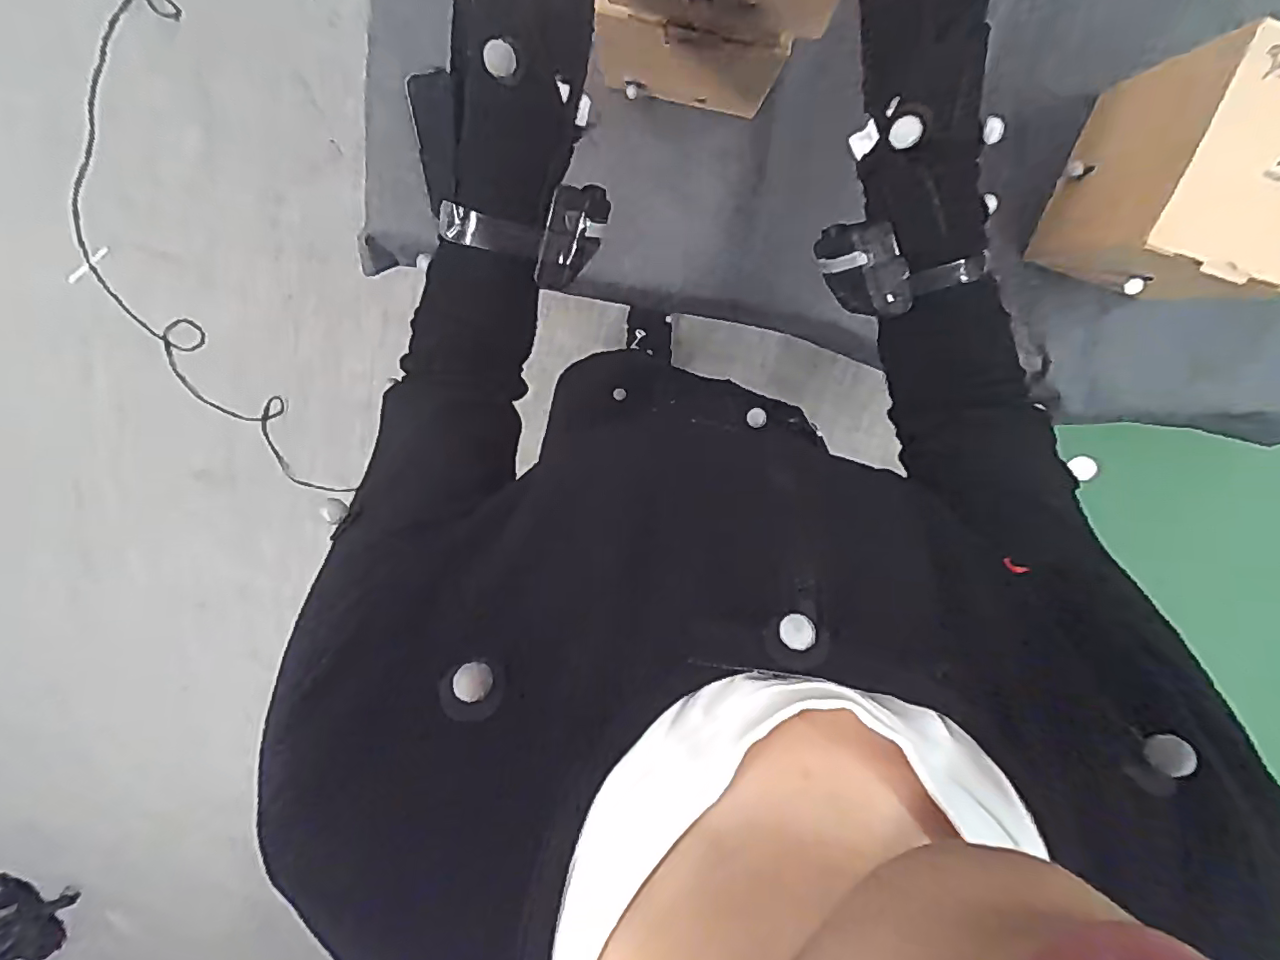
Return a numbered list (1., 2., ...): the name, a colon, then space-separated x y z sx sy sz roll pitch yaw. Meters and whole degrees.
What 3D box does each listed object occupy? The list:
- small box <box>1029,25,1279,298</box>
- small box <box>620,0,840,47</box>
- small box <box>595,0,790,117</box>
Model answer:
1. small box: 0.545 -0.293 0.544 0.168 0.176 0.179 15 108 -5
2. small box: 0.067 -0.410 0.322 0.168 0.176 0.179 7 105 0
3. small box: 0.060 -0.464 0.491 0.168 0.176 0.179 10 107 -3
